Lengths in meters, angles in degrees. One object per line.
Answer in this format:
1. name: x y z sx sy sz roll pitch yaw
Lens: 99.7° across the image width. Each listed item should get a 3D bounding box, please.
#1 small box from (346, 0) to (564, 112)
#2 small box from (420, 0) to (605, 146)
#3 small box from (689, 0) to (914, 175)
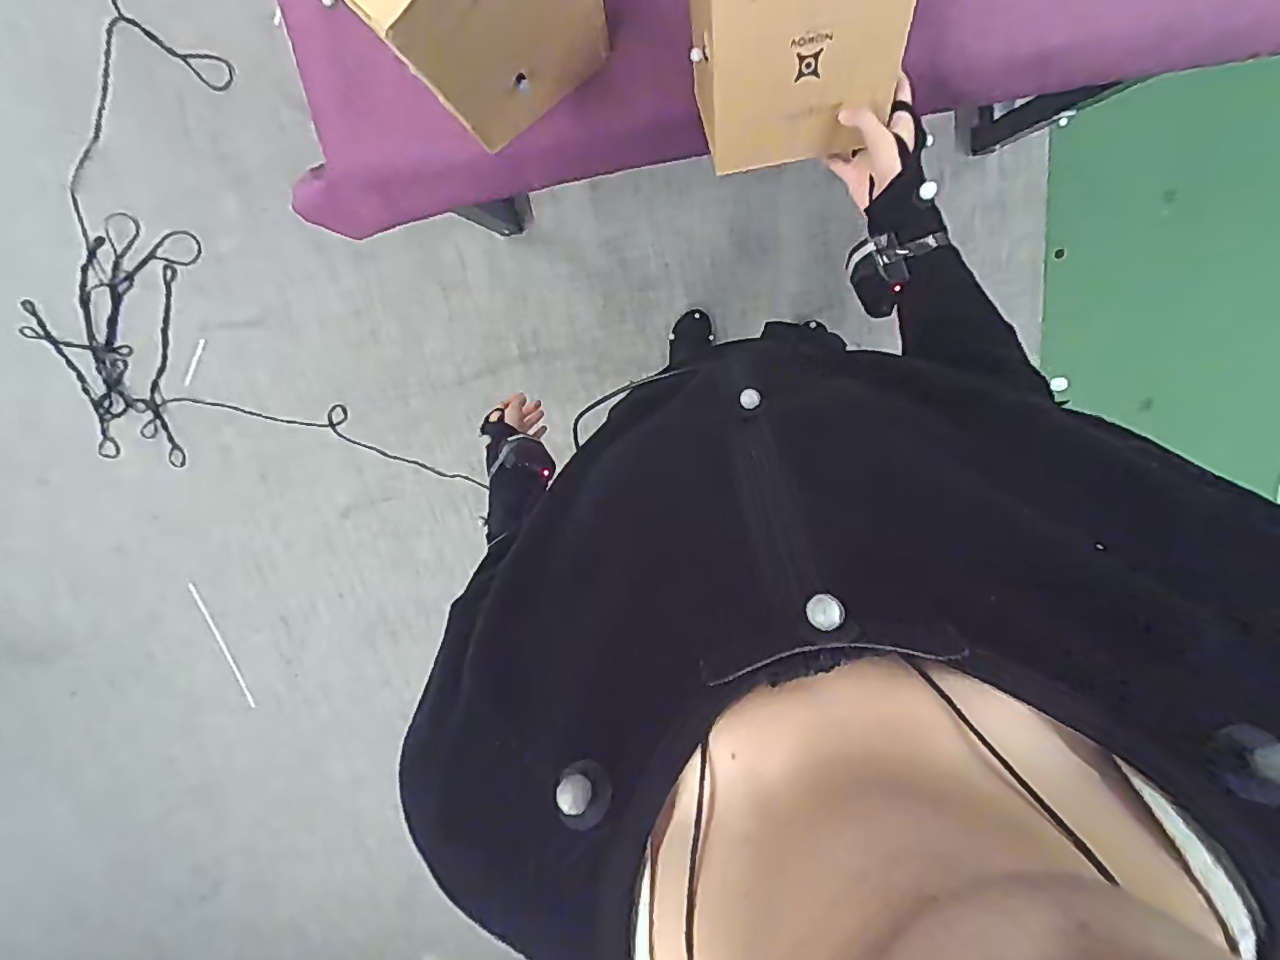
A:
1. small box: -0.155 -0.413 0.380 0.168 0.176 0.179 43 102 -10
2. small box: -0.152 -0.474 0.533 0.179 0.176 0.168 -33 103 11
3. small box: 0.135 -0.428 0.504 0.168 0.176 0.179 -7 150 5
